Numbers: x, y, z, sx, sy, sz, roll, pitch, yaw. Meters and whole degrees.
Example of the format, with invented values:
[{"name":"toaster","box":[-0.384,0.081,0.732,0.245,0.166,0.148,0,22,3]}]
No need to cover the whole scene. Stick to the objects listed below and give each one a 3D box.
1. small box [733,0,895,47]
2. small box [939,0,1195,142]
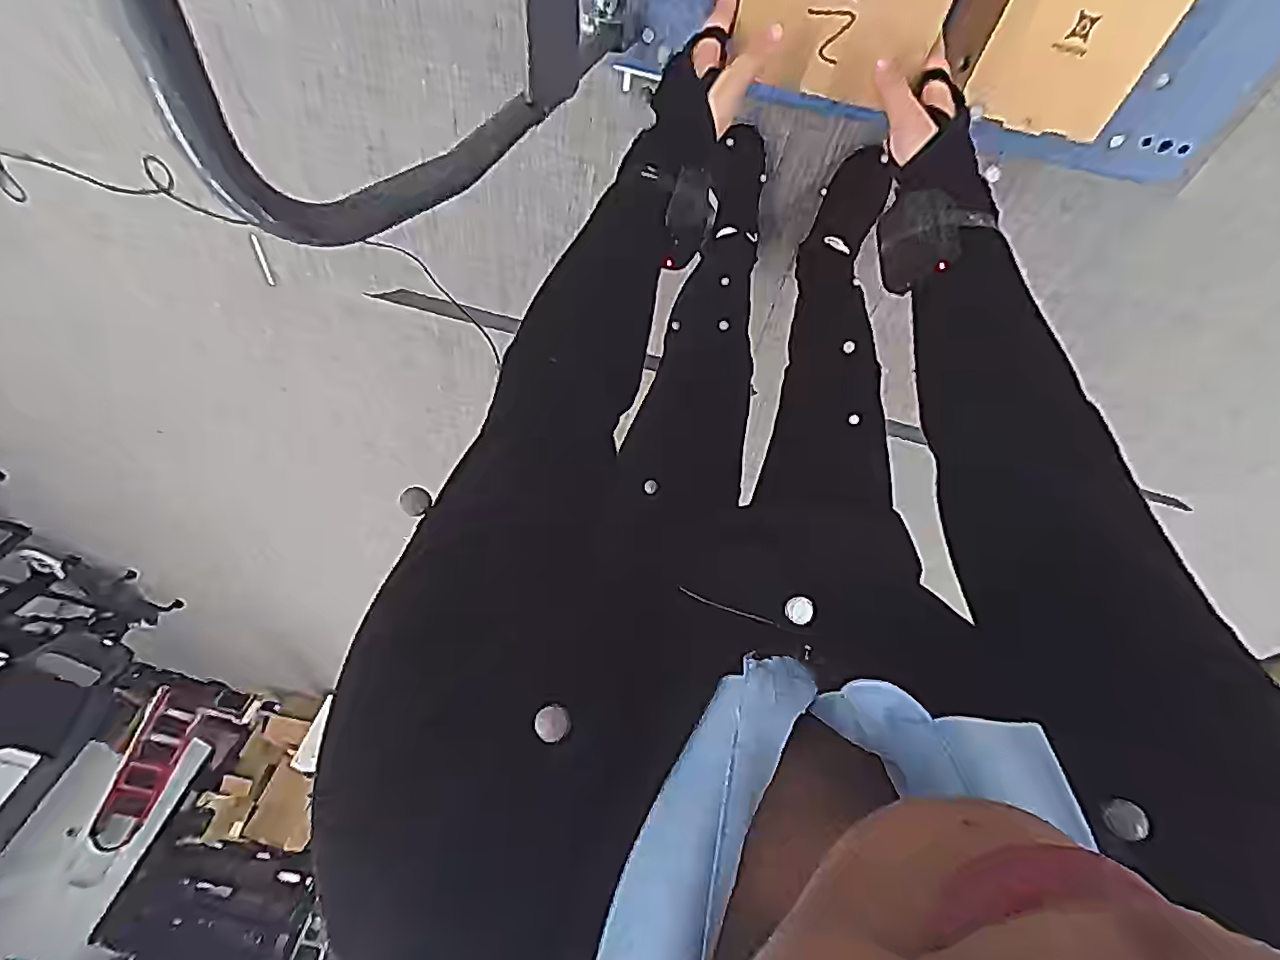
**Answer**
[{"name":"small box","box":[0.204,-0.601,0.573,0.168,0.176,0.179,13,141,2]},{"name":"small box","box":[0.462,-0.515,0.599,0.168,0.176,0.179,13,140,1]}]
